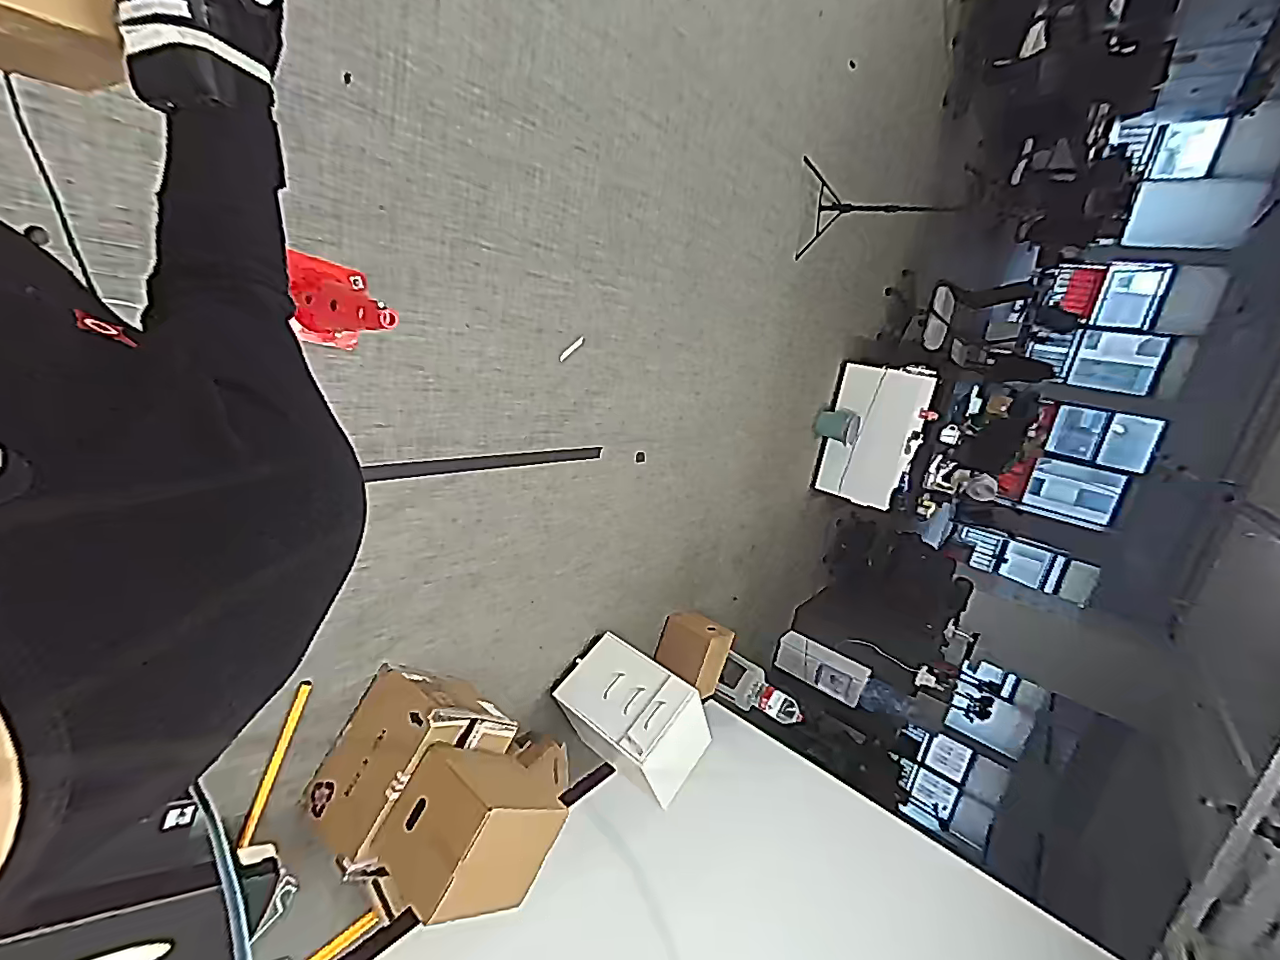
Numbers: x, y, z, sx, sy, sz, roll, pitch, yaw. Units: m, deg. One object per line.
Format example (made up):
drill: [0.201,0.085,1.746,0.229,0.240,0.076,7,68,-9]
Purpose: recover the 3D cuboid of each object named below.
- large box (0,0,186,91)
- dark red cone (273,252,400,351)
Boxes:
large box: [-0.538,-0.448,0.262,0.408,0.320,0.320,-16,122,-52]
dark red cone: [-0.645,-0.375,1.208,0.201,0.394,0.202,1,106,-51]
